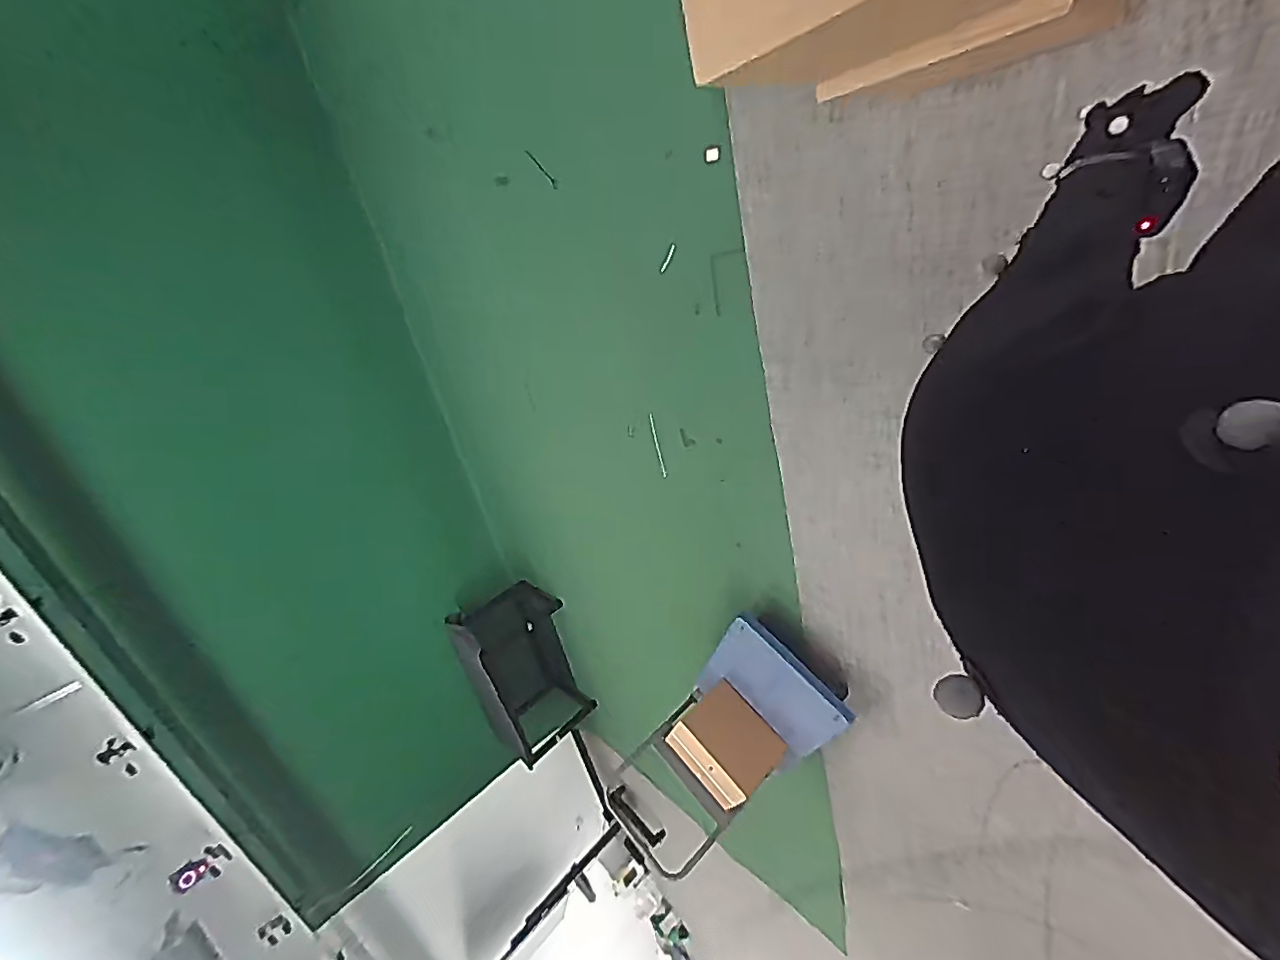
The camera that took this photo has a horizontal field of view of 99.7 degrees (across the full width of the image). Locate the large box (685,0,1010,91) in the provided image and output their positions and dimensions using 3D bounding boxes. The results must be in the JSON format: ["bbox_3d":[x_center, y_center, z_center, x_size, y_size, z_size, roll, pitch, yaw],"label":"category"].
[{"bbox_3d":[0.303,-0.809,0.767,0.408,0.320,0.320,14,123,47],"label":"large box"}]
